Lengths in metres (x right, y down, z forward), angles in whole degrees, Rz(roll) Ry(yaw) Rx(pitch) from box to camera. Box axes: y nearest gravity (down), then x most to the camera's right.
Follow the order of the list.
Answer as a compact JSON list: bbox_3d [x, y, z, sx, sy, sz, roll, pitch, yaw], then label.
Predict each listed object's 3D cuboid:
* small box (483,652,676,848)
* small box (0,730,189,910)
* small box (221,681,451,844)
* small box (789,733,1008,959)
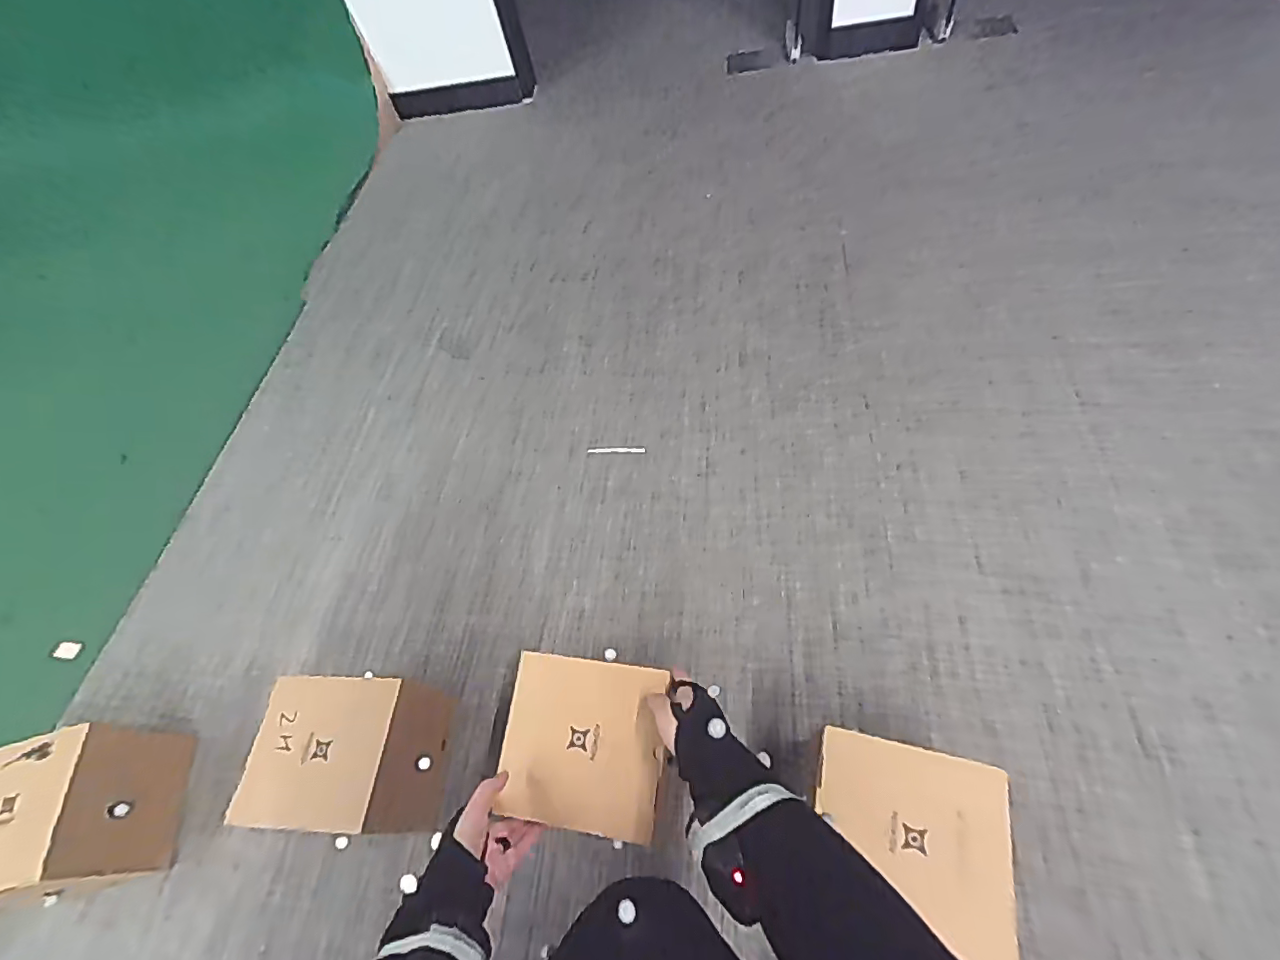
[{"bbox_3d":[-0.057,0.310,0.646,0.179,0.176,0.168,5,68,9],"label":"small box"},{"bbox_3d":[-0.762,0.455,0.725,0.168,0.176,0.179,-15,57,1],"label":"small box"},{"bbox_3d":[-0.374,0.368,0.708,0.179,0.176,0.168,-2,57,9],"label":"small box"},{"bbox_3d":[0.261,0.391,0.580,0.179,0.176,0.168,9,61,15],"label":"small box"}]
